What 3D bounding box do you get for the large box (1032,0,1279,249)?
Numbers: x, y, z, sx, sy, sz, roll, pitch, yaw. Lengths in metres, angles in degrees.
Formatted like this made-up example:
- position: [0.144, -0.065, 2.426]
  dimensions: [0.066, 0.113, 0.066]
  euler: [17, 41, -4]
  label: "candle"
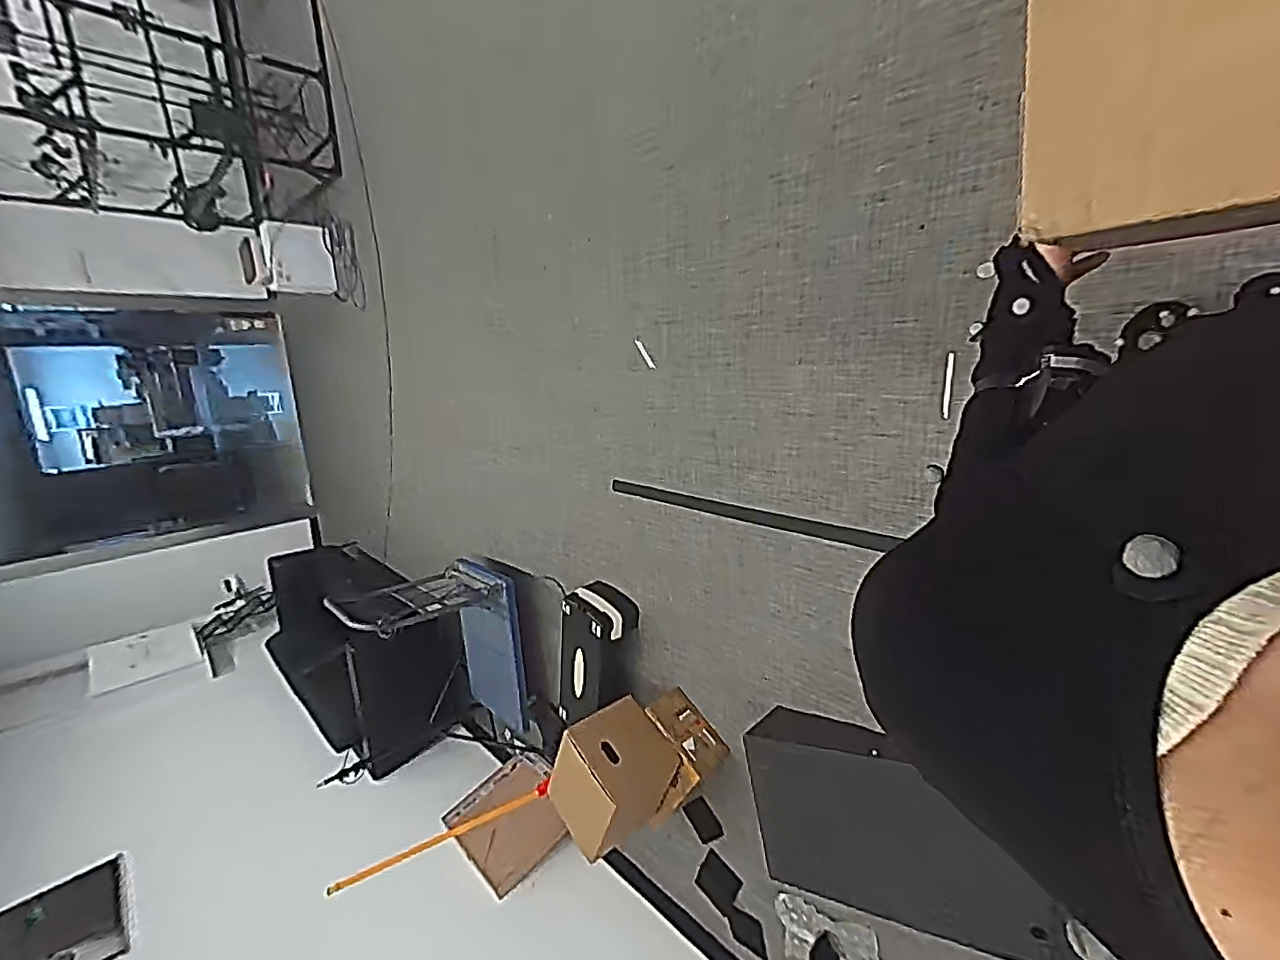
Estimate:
- position: [0.419, -0.298, 0.211]
  dimensions: [0.408, 0.320, 0.320]
  euler: [6, 111, 41]
  label: "large box"
